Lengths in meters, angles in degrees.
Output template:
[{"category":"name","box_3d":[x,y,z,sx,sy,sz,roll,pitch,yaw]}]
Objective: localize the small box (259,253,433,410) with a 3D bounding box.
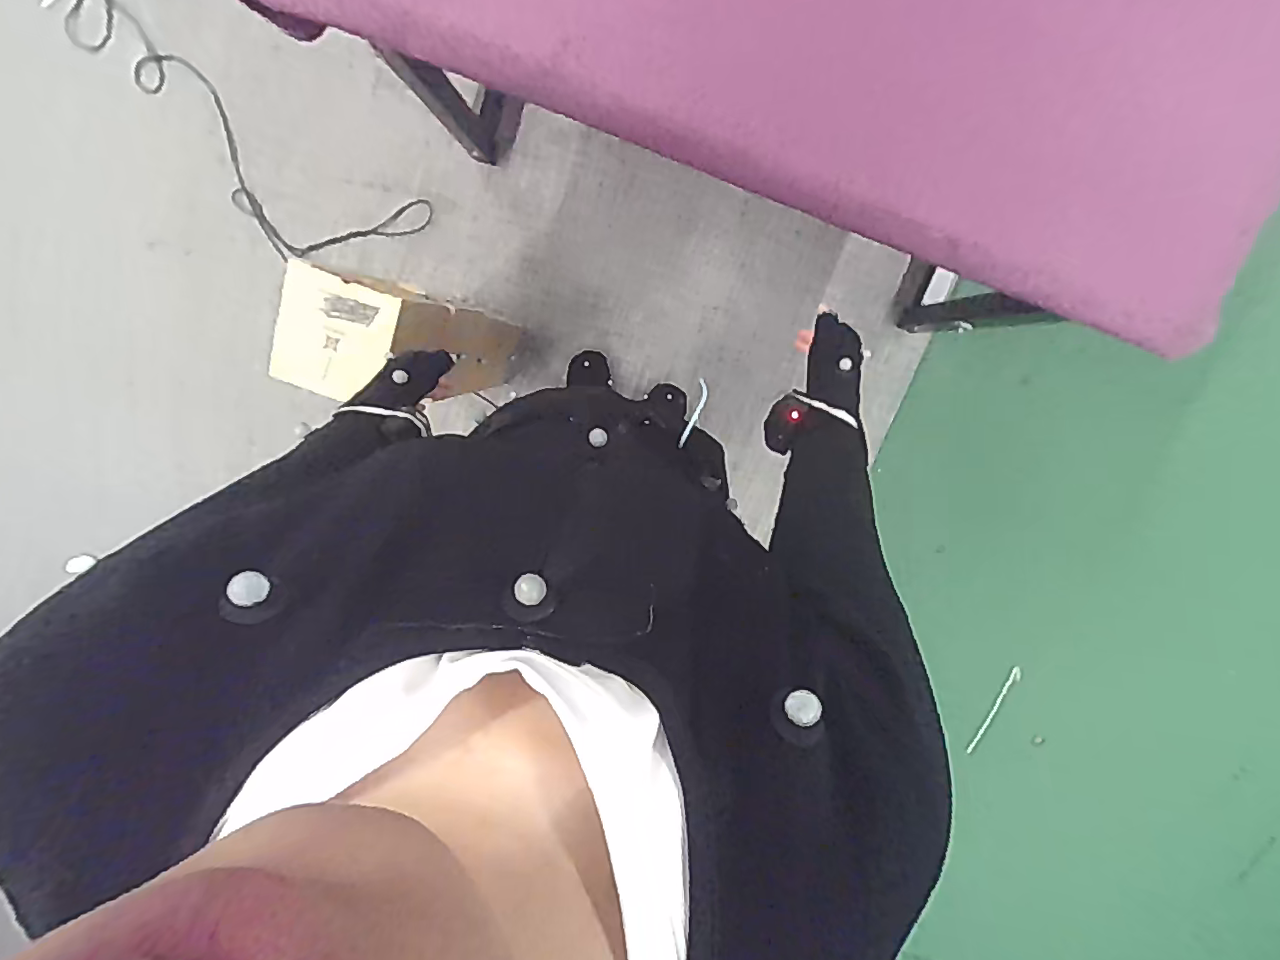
[{"category":"small box","box_3d":[-0.448,-0.231,0.850,0.168,0.176,0.179,21,106,-5]}]
